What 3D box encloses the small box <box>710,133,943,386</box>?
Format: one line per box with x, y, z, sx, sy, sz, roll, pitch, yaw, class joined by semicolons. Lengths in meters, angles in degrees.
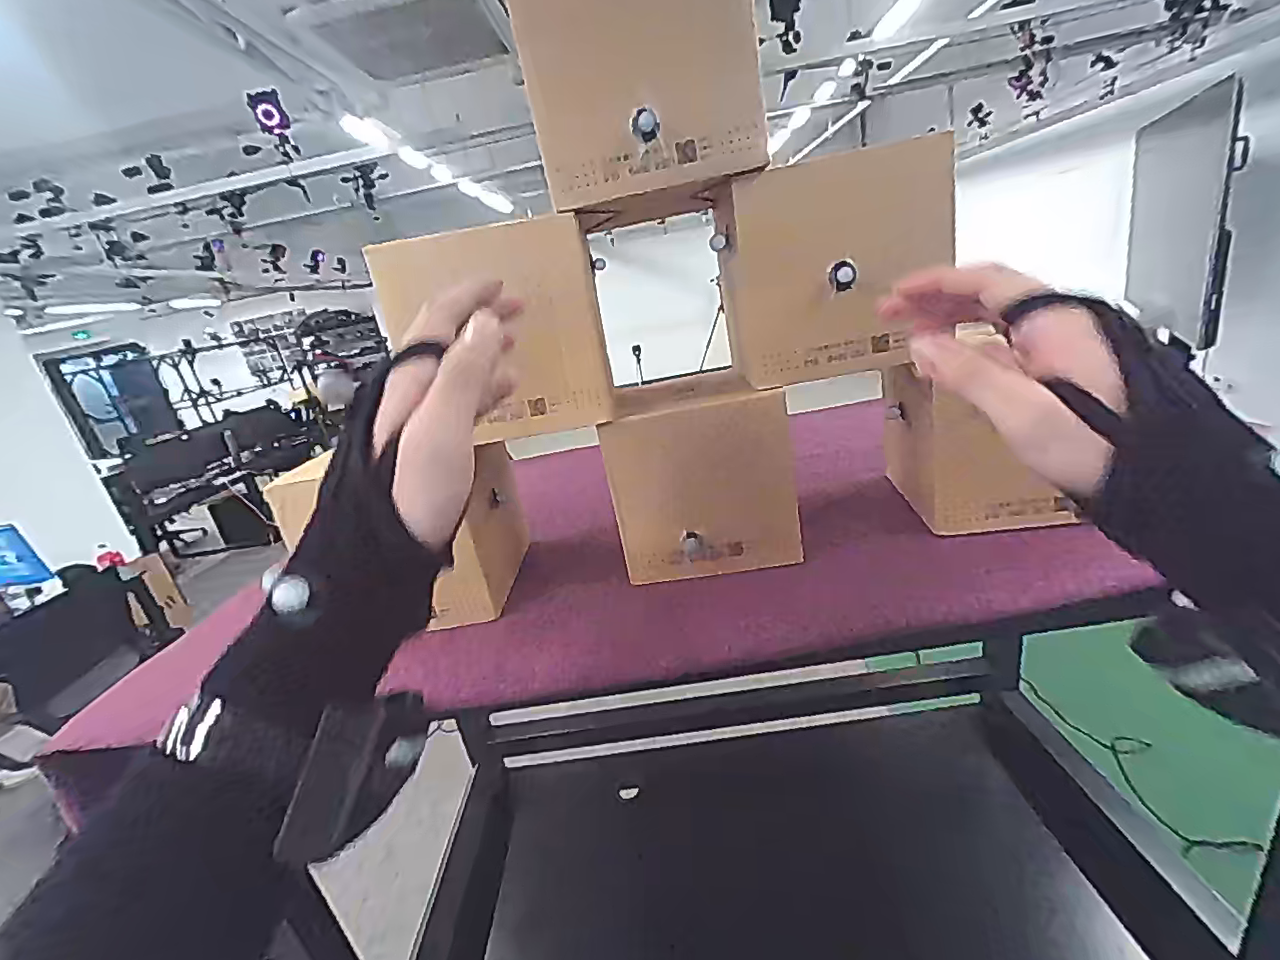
0.164;-0.190;0.505;0.168;0.176;0.179;-9;18;6;small box

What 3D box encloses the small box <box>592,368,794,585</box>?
0.057;-0.011;0.564;0.168;0.176;0.179;-10;20;6;small box

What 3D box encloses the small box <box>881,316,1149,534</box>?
0.346;-0.060;0.539;0.168;0.176;0.179;-8;18;12;small box

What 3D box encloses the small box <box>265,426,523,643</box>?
-0.230;0.042;0.562;0.168;0.176;0.179;-10;20;3;small box

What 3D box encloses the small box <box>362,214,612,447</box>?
-0.121;-0.134;0.512;0.168;0.176;0.179;-10;18;1;small box
